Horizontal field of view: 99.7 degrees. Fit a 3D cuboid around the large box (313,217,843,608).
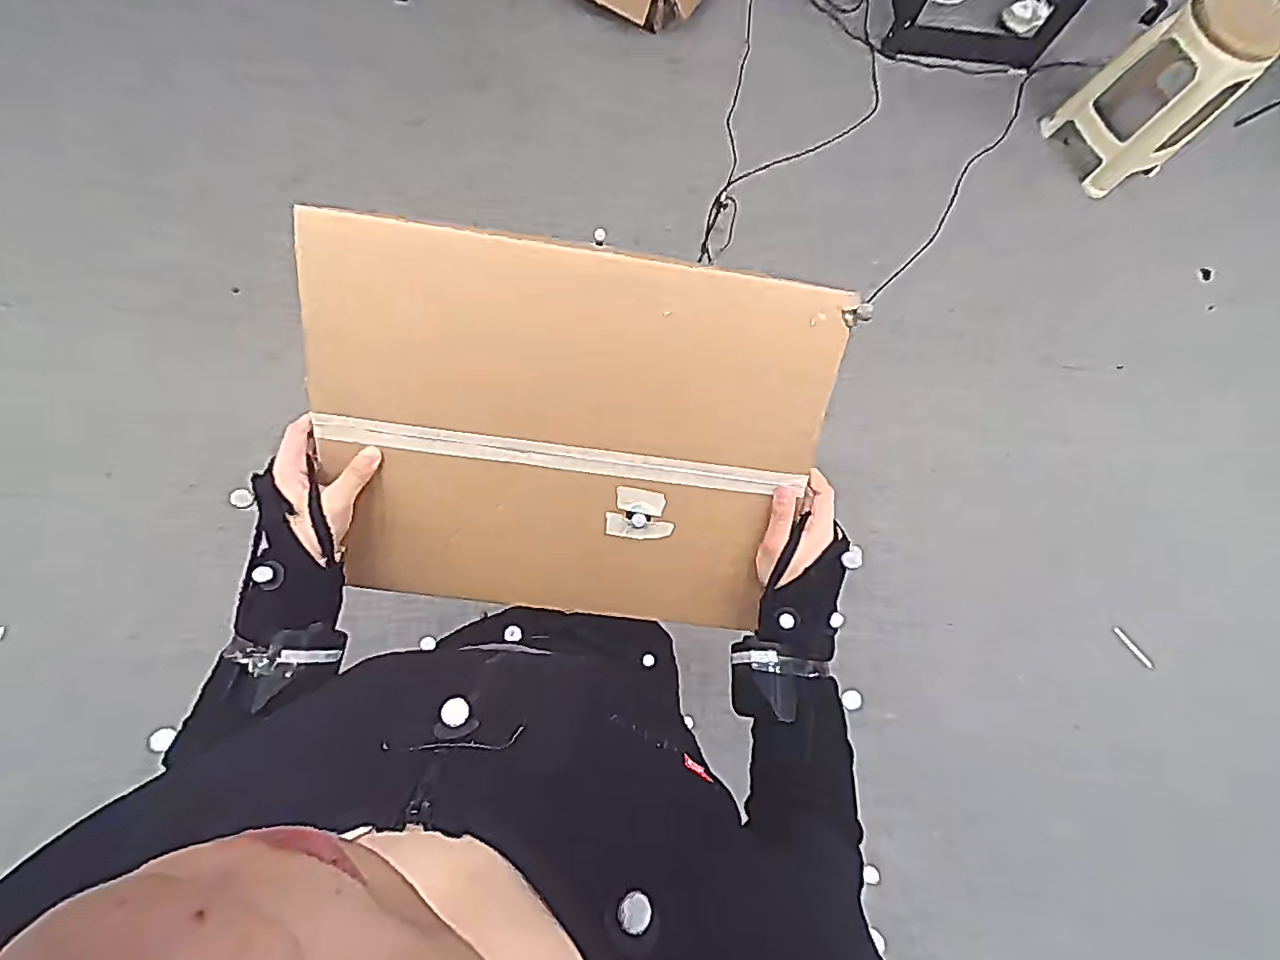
[{"bbox_3d":[-0.063,-0.090,0.595,0.408,0.320,0.320,6,115,-5],"label":"large box"}]
